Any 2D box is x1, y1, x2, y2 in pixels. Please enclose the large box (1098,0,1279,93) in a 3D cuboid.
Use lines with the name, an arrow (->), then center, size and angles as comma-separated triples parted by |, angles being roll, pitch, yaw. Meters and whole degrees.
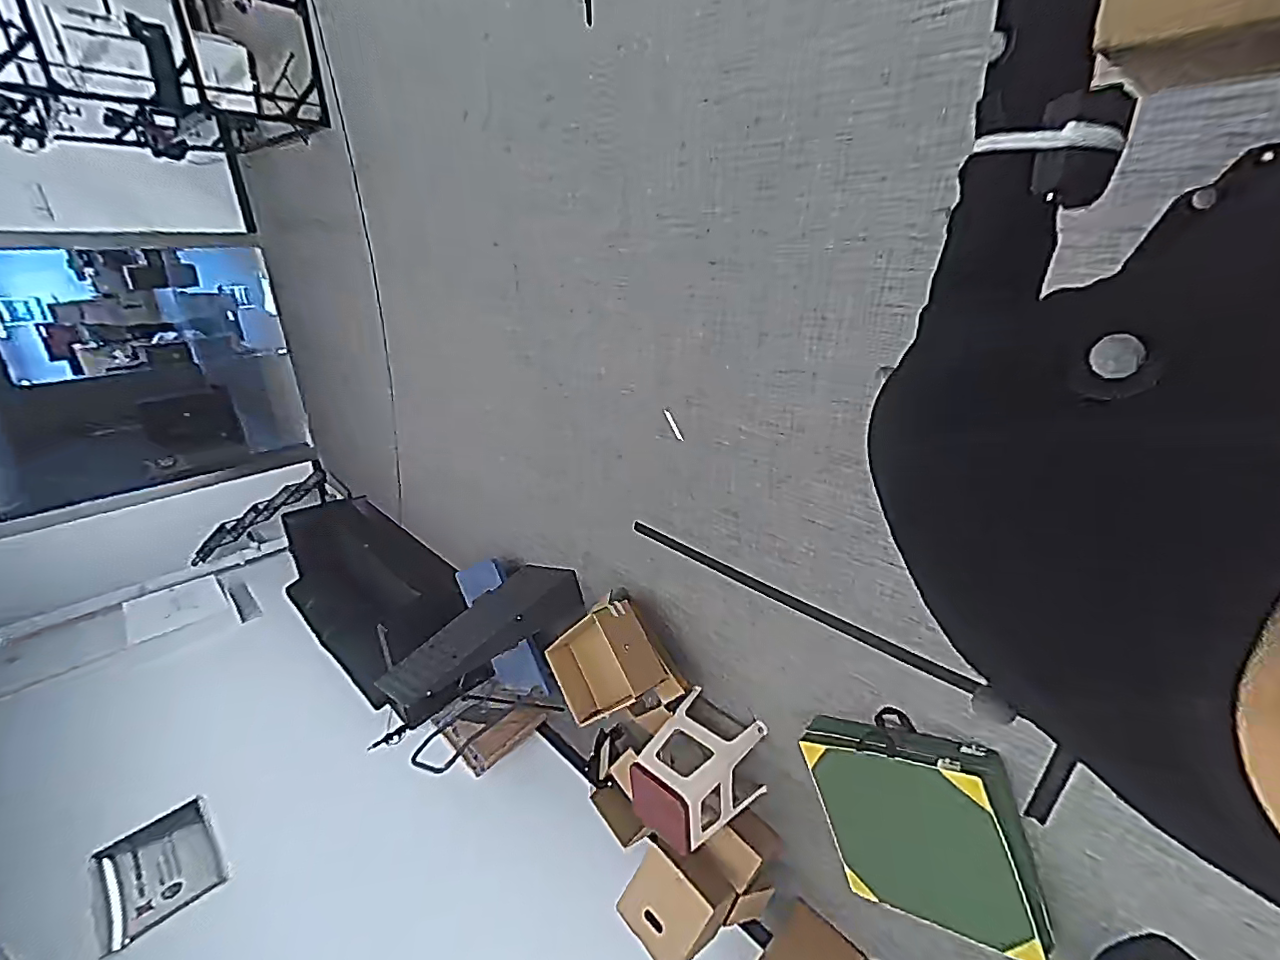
large box -> 0.531, -0.422, 0.261 | 0.408, 0.320, 0.320 | 19, 126, 38
